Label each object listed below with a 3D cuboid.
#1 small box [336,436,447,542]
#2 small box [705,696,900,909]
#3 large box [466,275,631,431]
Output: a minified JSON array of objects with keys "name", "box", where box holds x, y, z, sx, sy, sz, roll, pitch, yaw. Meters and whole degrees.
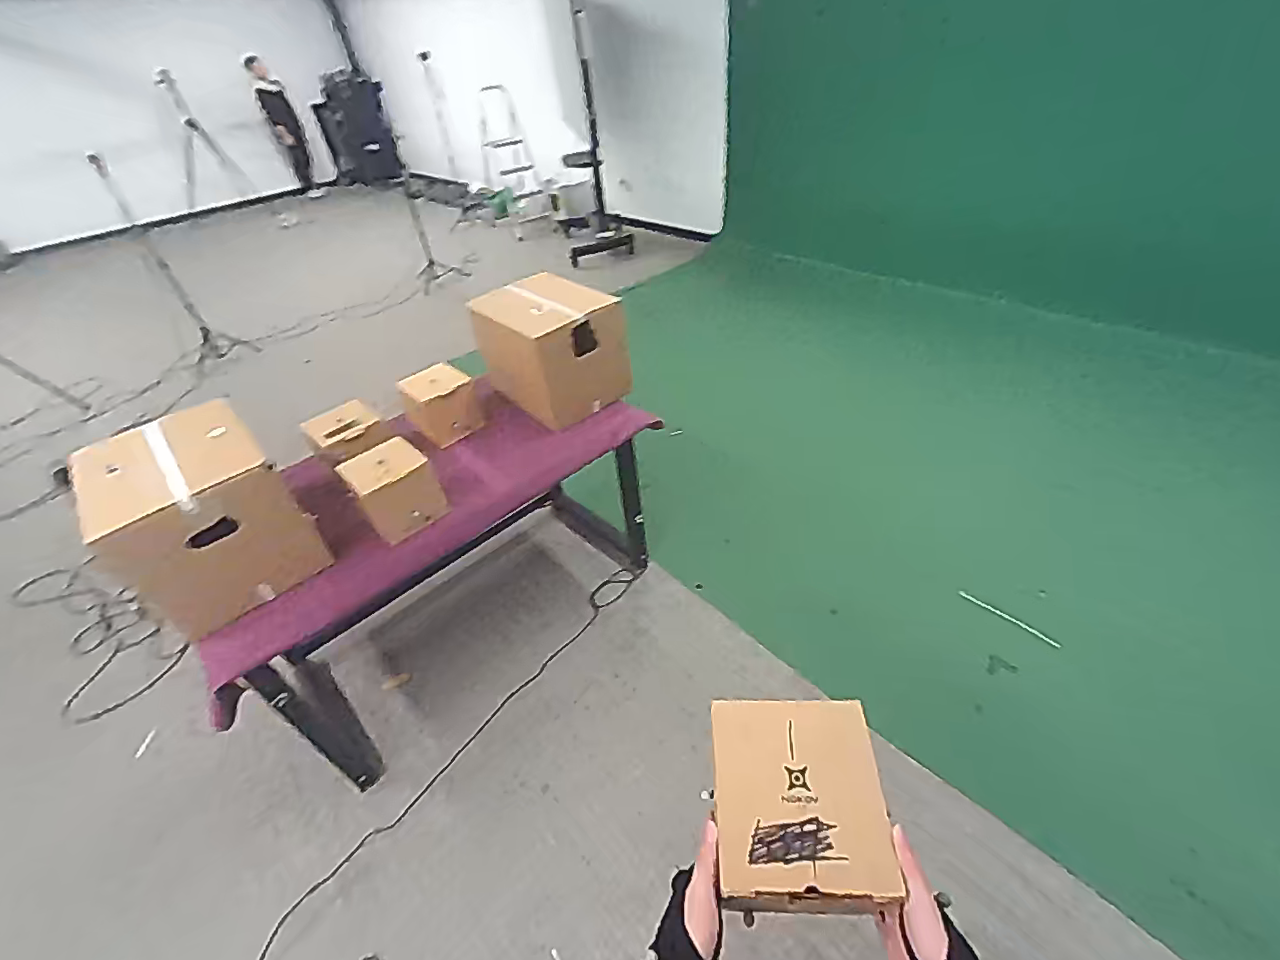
[{"name":"small box","box":[-0.612,0.023,1.341,0.168,0.176,0.179,-36,47,-30]},{"name":"small box","box":[0.159,0.356,0.596,0.168,0.176,0.179,-2,47,4]},{"name":"large box","box":[-0.280,-0.410,1.705,0.320,0.320,0.408,-34,48,-27]}]
